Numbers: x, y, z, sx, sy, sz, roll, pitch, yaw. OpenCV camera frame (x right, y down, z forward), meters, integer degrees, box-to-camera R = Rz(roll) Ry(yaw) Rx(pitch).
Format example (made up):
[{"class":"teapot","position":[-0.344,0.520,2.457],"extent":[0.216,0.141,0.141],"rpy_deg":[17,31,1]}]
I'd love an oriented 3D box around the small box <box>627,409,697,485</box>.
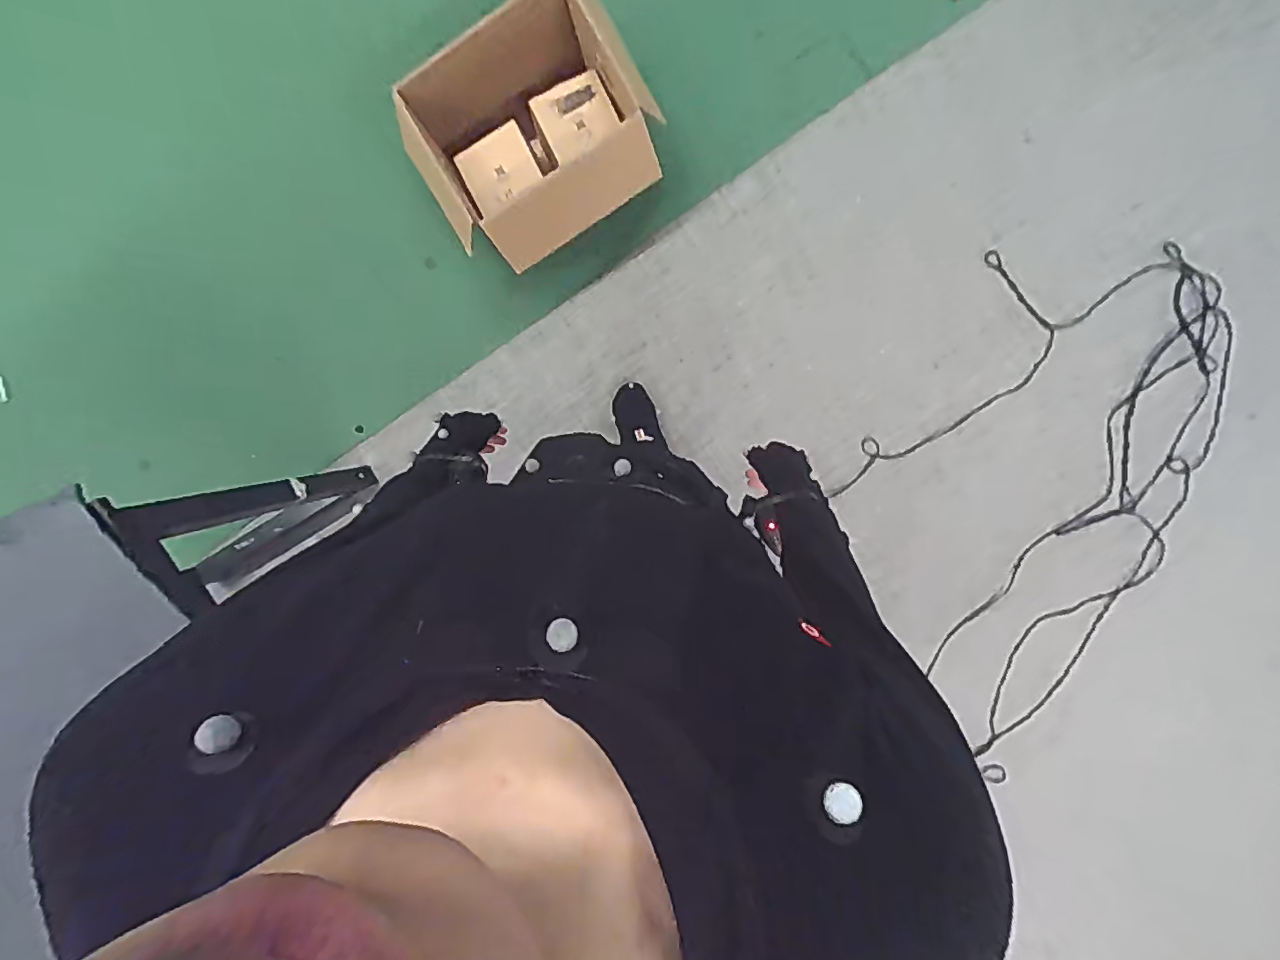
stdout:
[{"class":"small box","position":[0.053,-0.089,1.403],"extent":[0.168,0.176,0.179],"rpy_deg":[0,101,-4]}]
